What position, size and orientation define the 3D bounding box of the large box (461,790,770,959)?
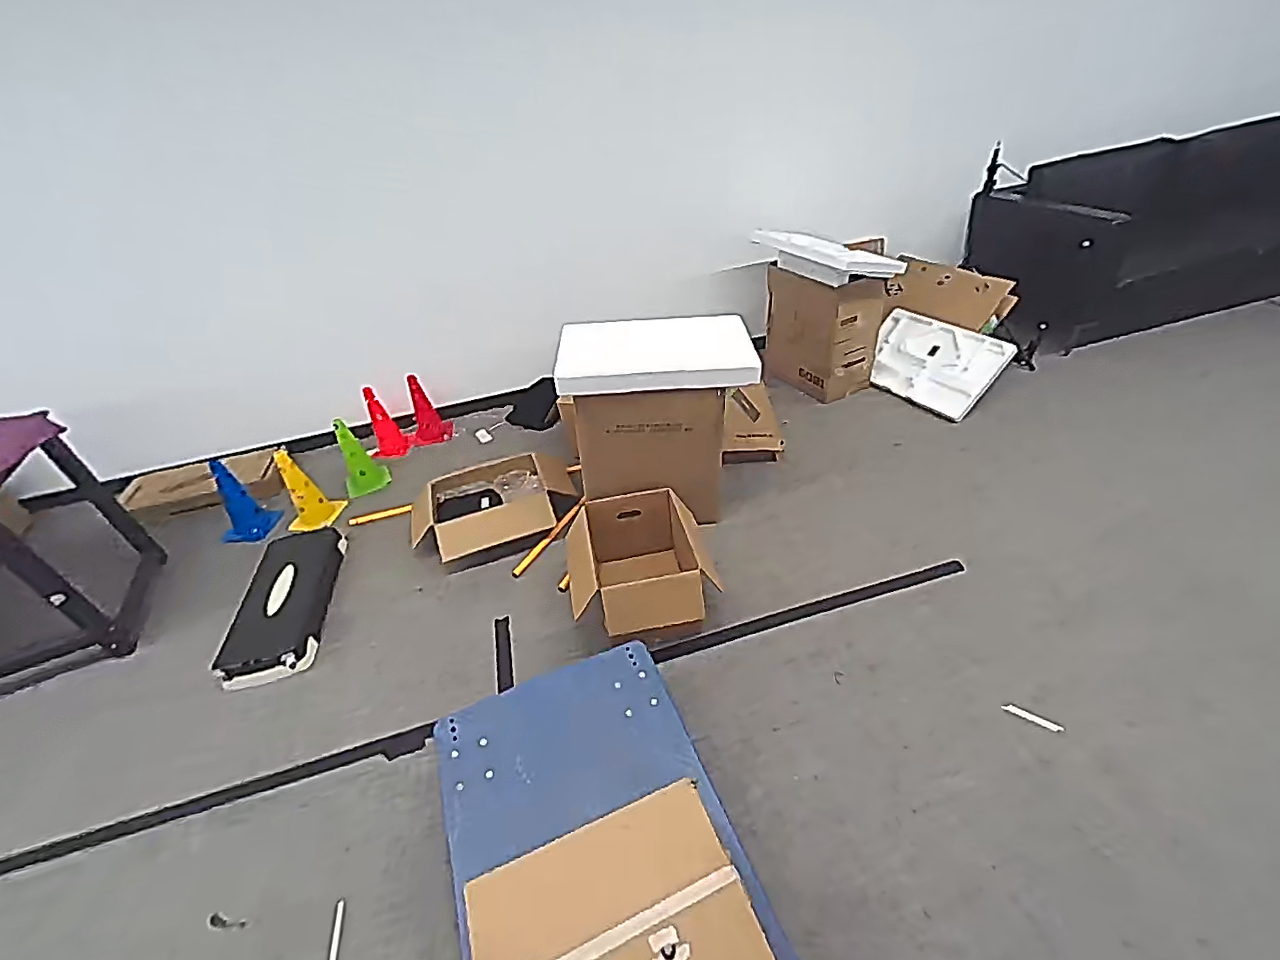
[{"bbox_3d":[-0.028,0.794,0.870,0.408,0.320,0.320,-18,44,-15],"label":"large box"}]
